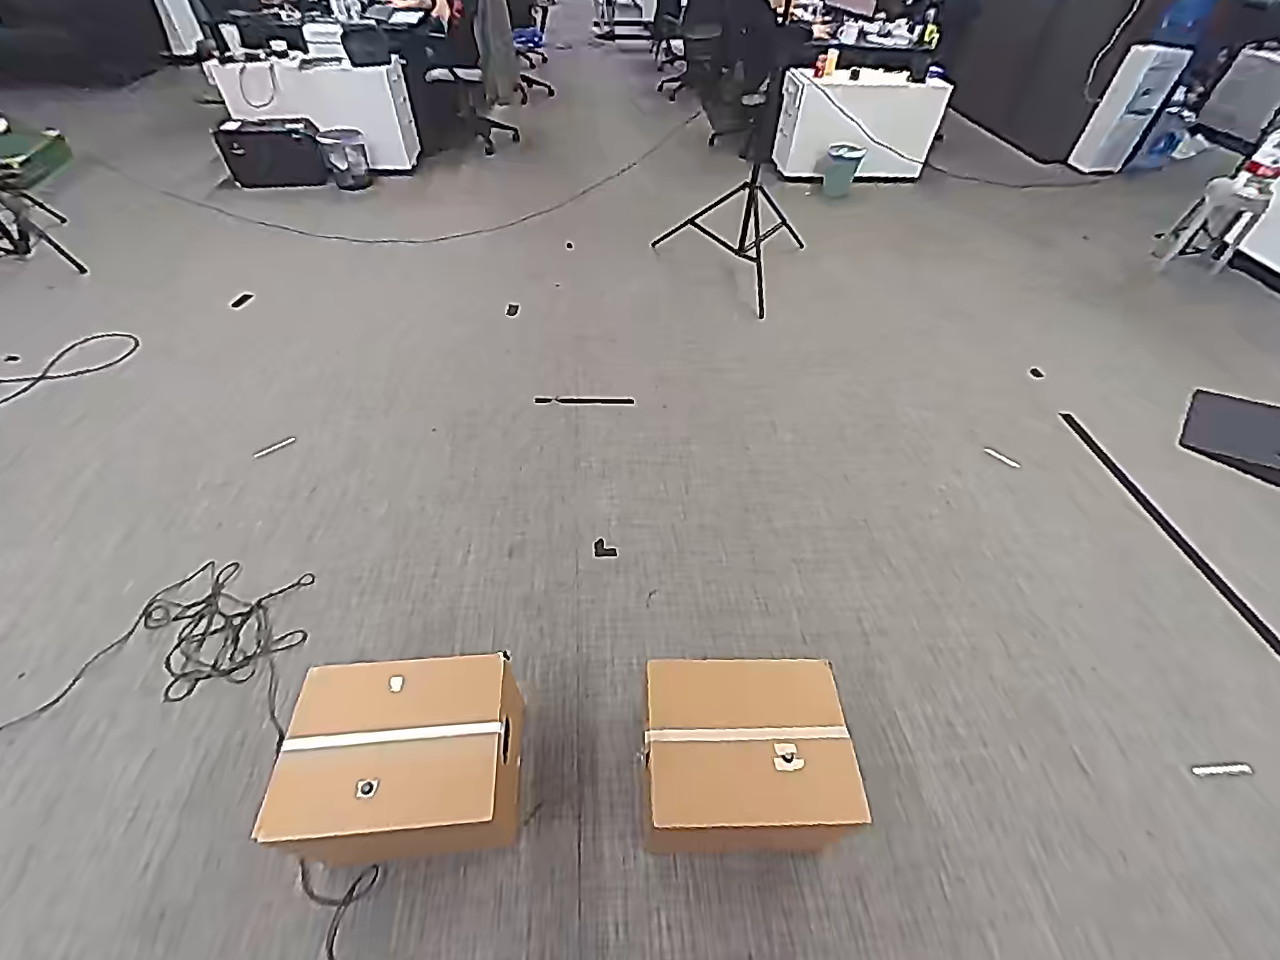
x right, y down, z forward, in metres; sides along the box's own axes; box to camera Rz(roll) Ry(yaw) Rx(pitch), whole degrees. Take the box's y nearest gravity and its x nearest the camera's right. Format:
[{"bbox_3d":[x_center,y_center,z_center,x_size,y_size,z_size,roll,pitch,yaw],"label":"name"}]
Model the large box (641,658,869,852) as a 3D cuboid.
[{"bbox_3d":[0.215,0.609,1.197,0.408,0.320,0.320,1,48,-3],"label":"large box"}]
